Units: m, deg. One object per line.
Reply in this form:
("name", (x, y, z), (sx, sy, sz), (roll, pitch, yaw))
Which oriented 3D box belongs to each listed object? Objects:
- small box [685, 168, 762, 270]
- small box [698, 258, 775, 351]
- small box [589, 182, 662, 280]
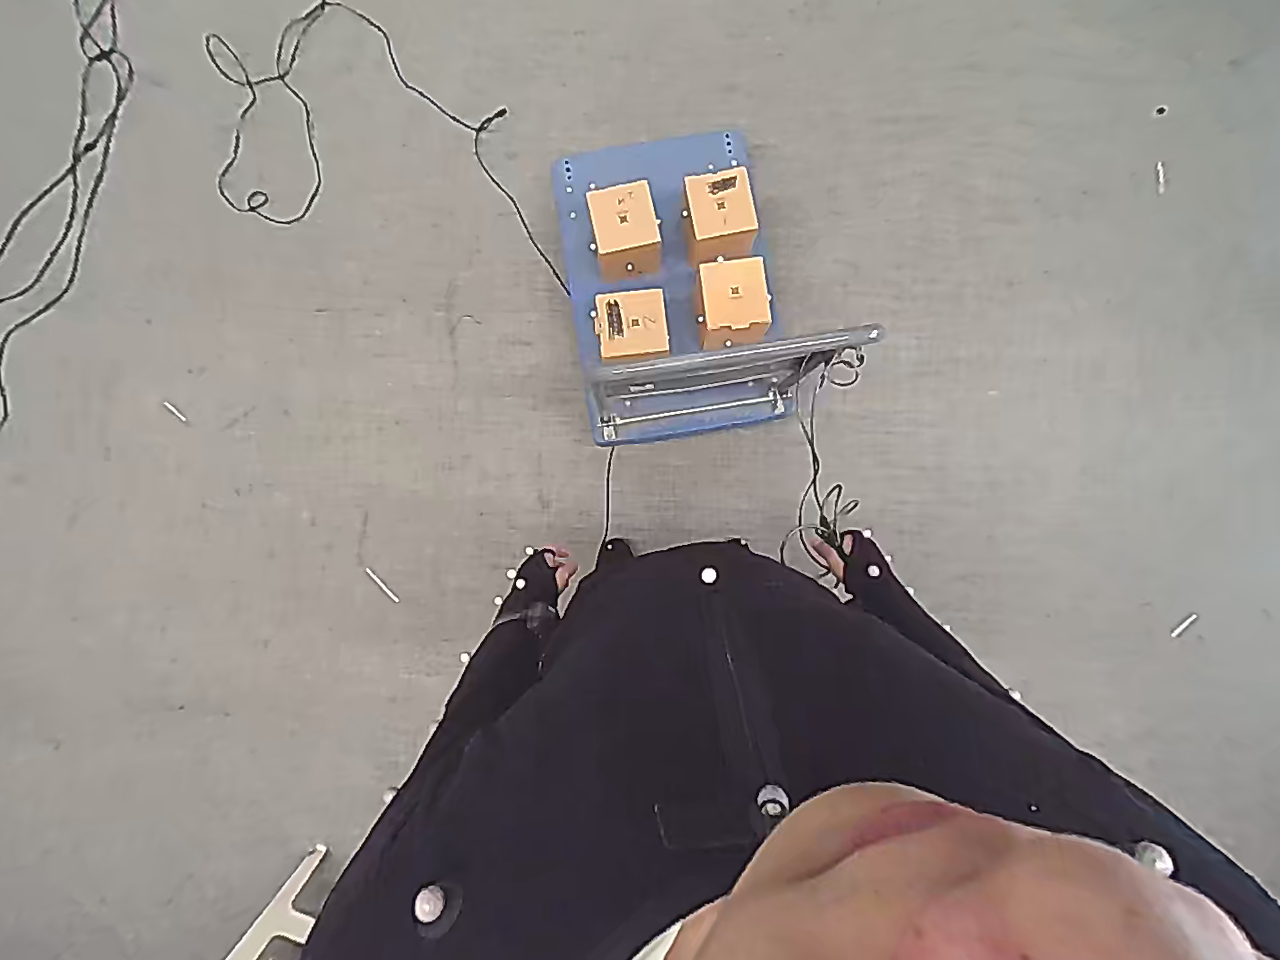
("small box", (0.220, -0.704, 1.469), (0.168, 0.176, 0.179), (-11, 85, 1))
("small box", (0.251, -0.465, 1.448), (0.168, 0.176, 0.179), (-7, 85, 1))
("small box", (-0.034, -0.667, 1.473), (0.168, 0.176, 0.179), (-12, 85, -1))
